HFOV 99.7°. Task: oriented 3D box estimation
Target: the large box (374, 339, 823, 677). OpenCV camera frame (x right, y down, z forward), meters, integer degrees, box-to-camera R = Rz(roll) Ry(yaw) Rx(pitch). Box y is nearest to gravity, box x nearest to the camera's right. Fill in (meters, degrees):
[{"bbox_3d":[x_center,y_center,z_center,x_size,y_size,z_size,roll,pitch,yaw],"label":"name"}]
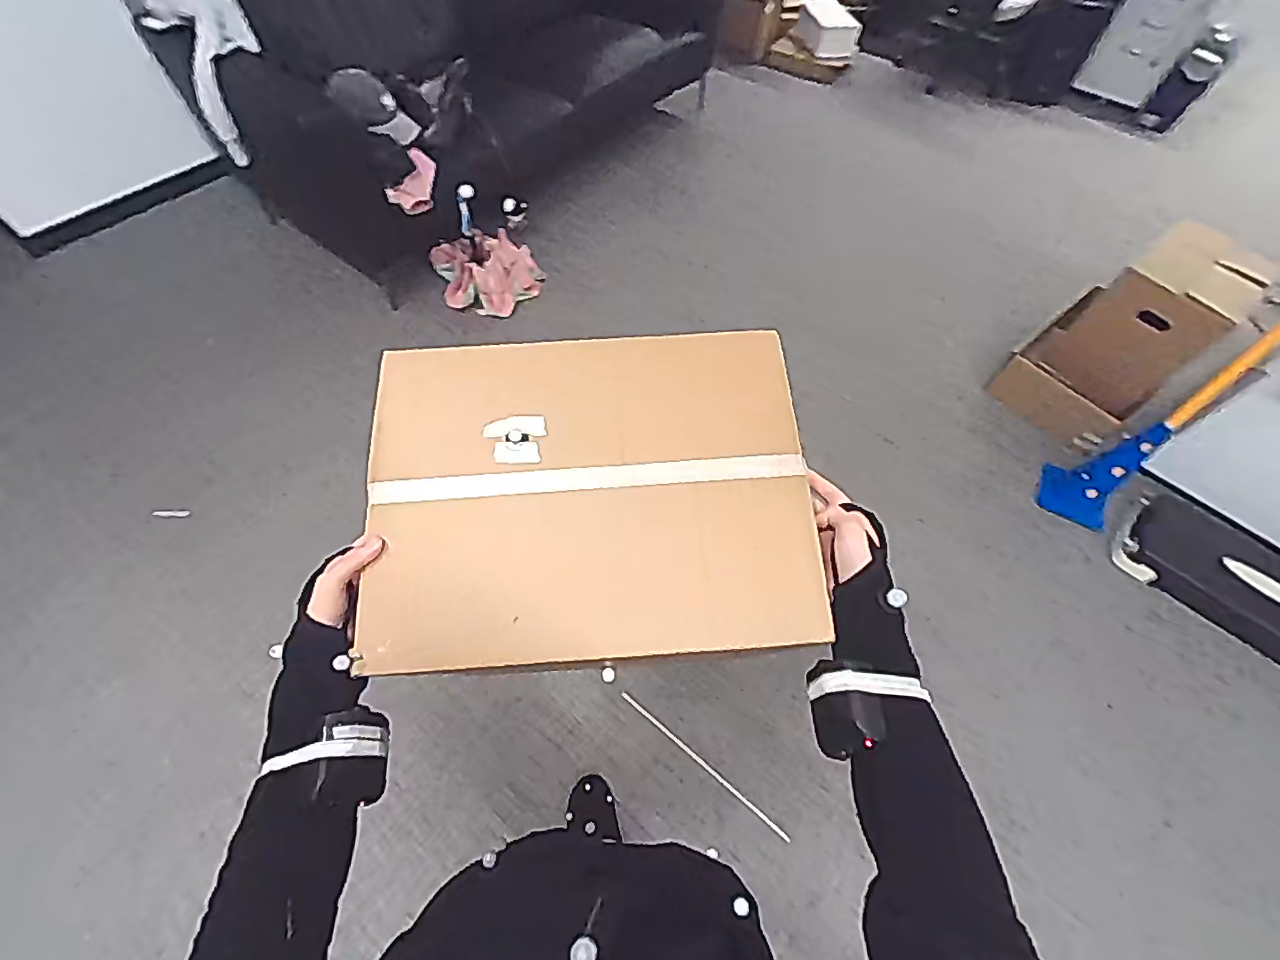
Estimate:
[{"bbox_3d":[-0.045,0.059,0.662,0.408,0.320,0.320,-4,69,-1],"label":"large box"}]
